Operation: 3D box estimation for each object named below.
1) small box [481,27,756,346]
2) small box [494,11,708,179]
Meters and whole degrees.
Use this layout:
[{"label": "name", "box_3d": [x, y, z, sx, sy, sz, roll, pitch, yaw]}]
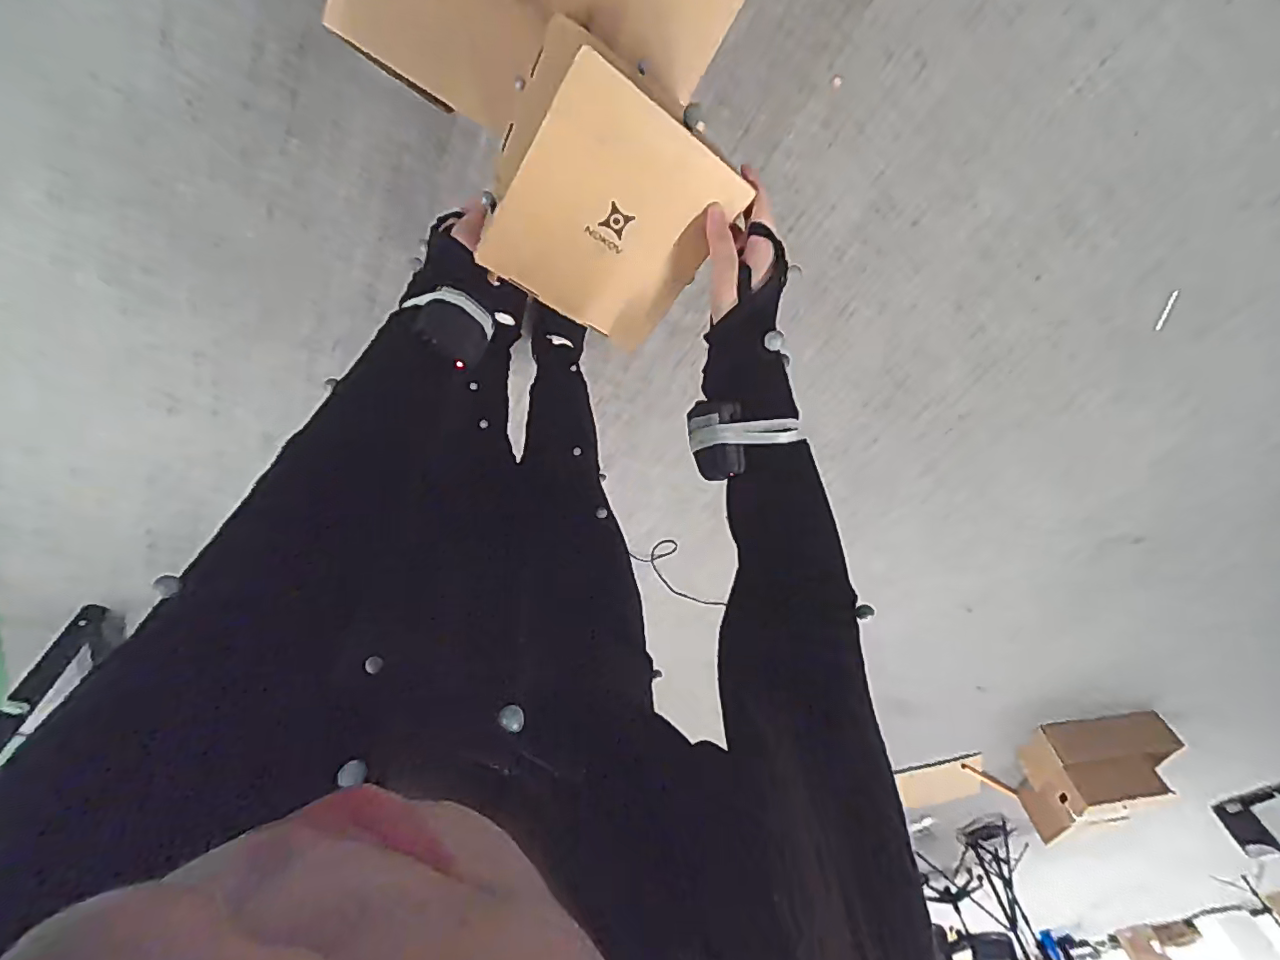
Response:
[{"label": "small box", "box_3d": [-0.027, -0.267, 0.497, 0.168, 0.176, 0.179, 25, 127, -28]}, {"label": "small box", "box_3d": [-0.050, -0.402, 0.631, 0.179, 0.176, 0.168, 23, 124, -25]}]
